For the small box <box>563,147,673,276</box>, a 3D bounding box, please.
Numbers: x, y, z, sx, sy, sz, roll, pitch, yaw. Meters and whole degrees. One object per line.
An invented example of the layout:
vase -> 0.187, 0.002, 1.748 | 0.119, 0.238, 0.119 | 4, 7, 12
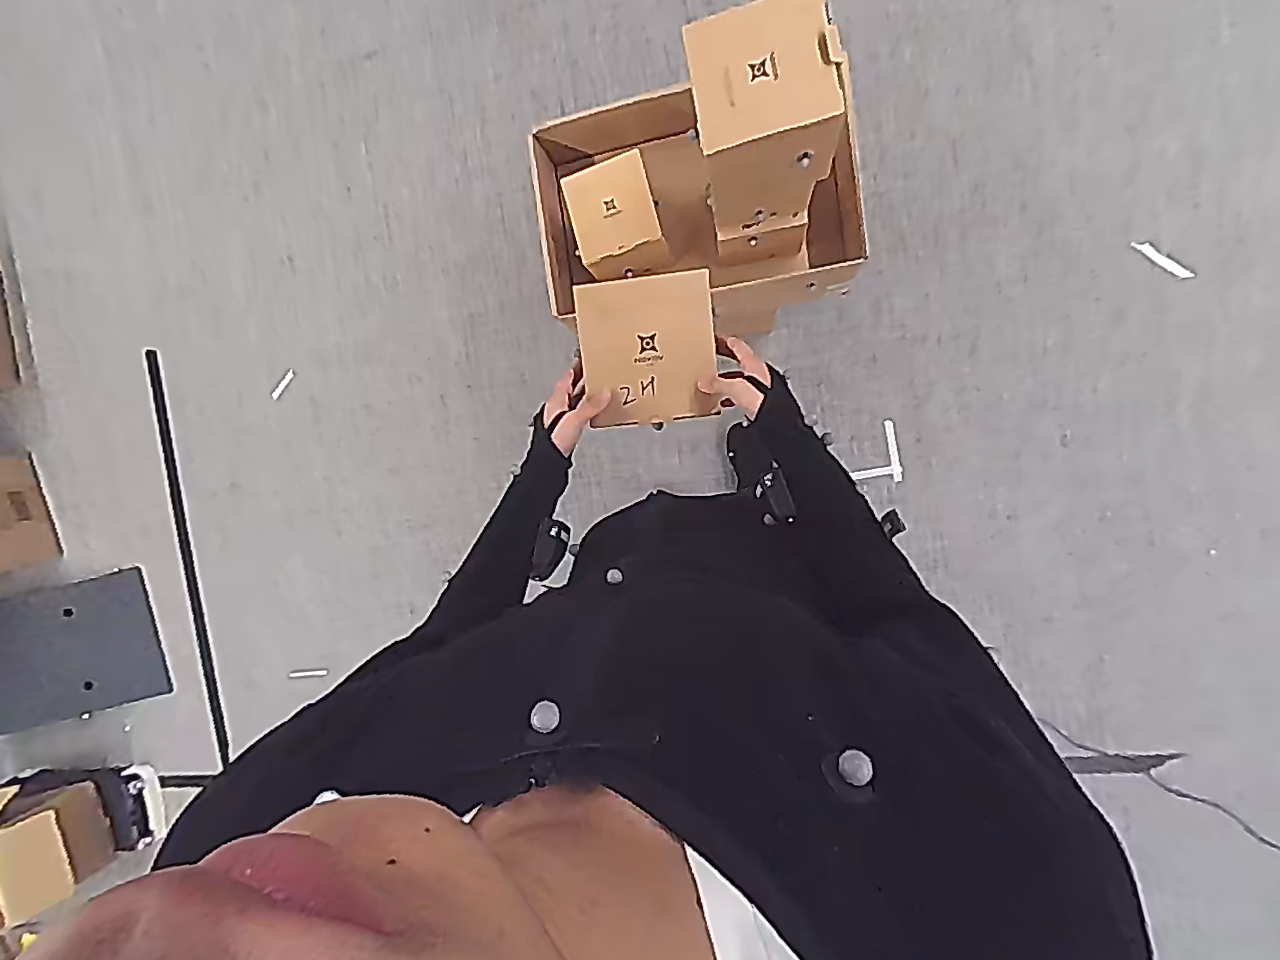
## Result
small box -> -0.038, -0.531, 1.112 | 0.168, 0.176, 0.179 | -16, 91, 12

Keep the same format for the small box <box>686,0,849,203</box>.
small box -> 0.167, -0.512, 0.738 | 0.179, 0.176, 0.168 | -10, 91, 11

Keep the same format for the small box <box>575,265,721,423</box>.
small box -> 0.014, -0.173, 0.730 | 0.168, 0.176, 0.179 | -6, 99, 4
